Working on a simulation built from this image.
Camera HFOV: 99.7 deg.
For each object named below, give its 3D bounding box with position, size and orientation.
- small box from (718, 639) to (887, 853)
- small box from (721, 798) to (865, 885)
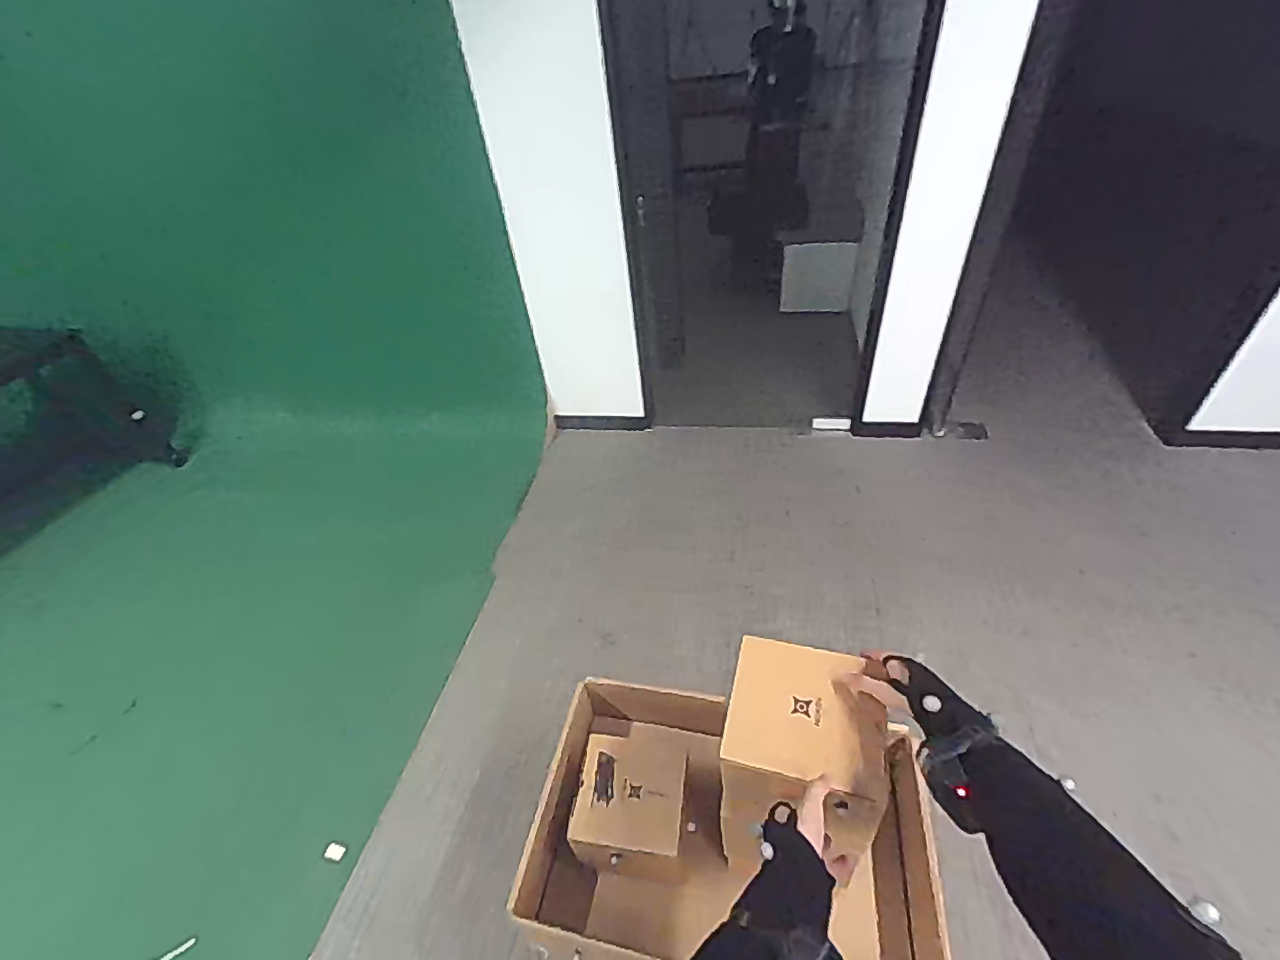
[{"bbox_3d":[0.202,0.329,0.674,0.179,0.176,0.168,7,43,19],"label":"small box"},{"bbox_3d":[0.220,0.451,0.779,0.179,0.176,0.168,5,42,18],"label":"small box"}]
